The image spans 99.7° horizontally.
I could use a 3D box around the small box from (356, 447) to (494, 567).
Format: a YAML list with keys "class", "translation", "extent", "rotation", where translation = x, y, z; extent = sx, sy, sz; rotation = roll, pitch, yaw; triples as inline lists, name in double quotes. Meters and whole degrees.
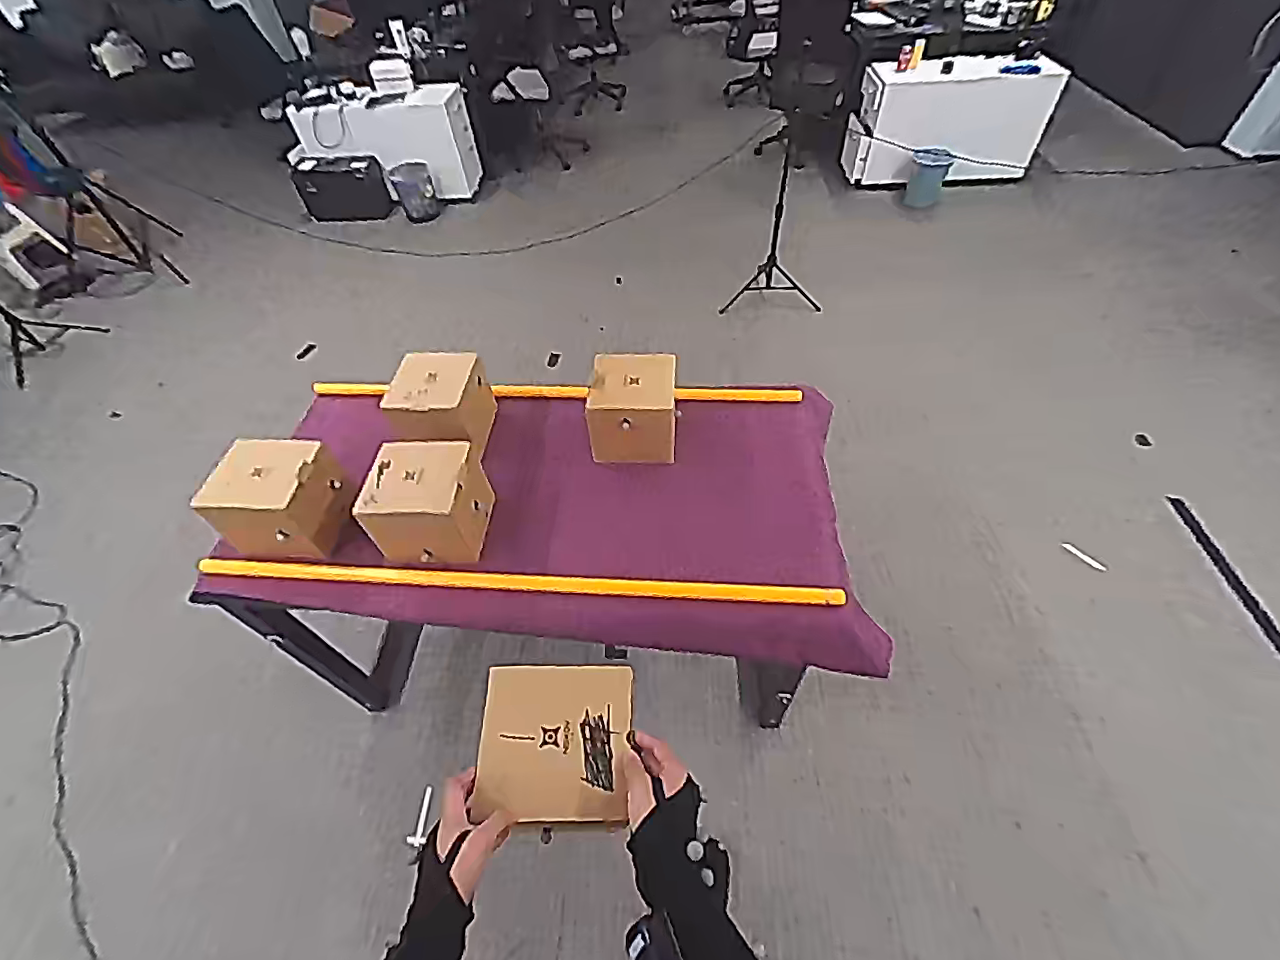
- class: "small box"
  translation: [-0.394, 0.054, 1.030]
  extent: [0.179, 0.176, 0.168]
  rotation: [1, 50, 4]

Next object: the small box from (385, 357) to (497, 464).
- class: "small box"
  translation: [-0.430, -0.152, 1.204]
  extent: [0.168, 0.176, 0.179]
  rotation: [1, 52, 5]

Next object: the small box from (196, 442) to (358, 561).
- class: "small box"
  translation: [-0.688, 0.045, 1.056]
  extent: [0.179, 0.176, 0.168]
  rotation: [2, 50, 3]

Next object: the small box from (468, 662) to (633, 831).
- class: "small box"
  translation: [-0.103, 0.341, 0.687]
  extent: [0.179, 0.176, 0.168]
  rotation: [2, 53, -4]

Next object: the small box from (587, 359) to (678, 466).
- class: "small box"
  translation: [-0.008, -0.142, 1.168]
  extent: [0.179, 0.176, 0.168]
  rotation: [1, 52, 6]
